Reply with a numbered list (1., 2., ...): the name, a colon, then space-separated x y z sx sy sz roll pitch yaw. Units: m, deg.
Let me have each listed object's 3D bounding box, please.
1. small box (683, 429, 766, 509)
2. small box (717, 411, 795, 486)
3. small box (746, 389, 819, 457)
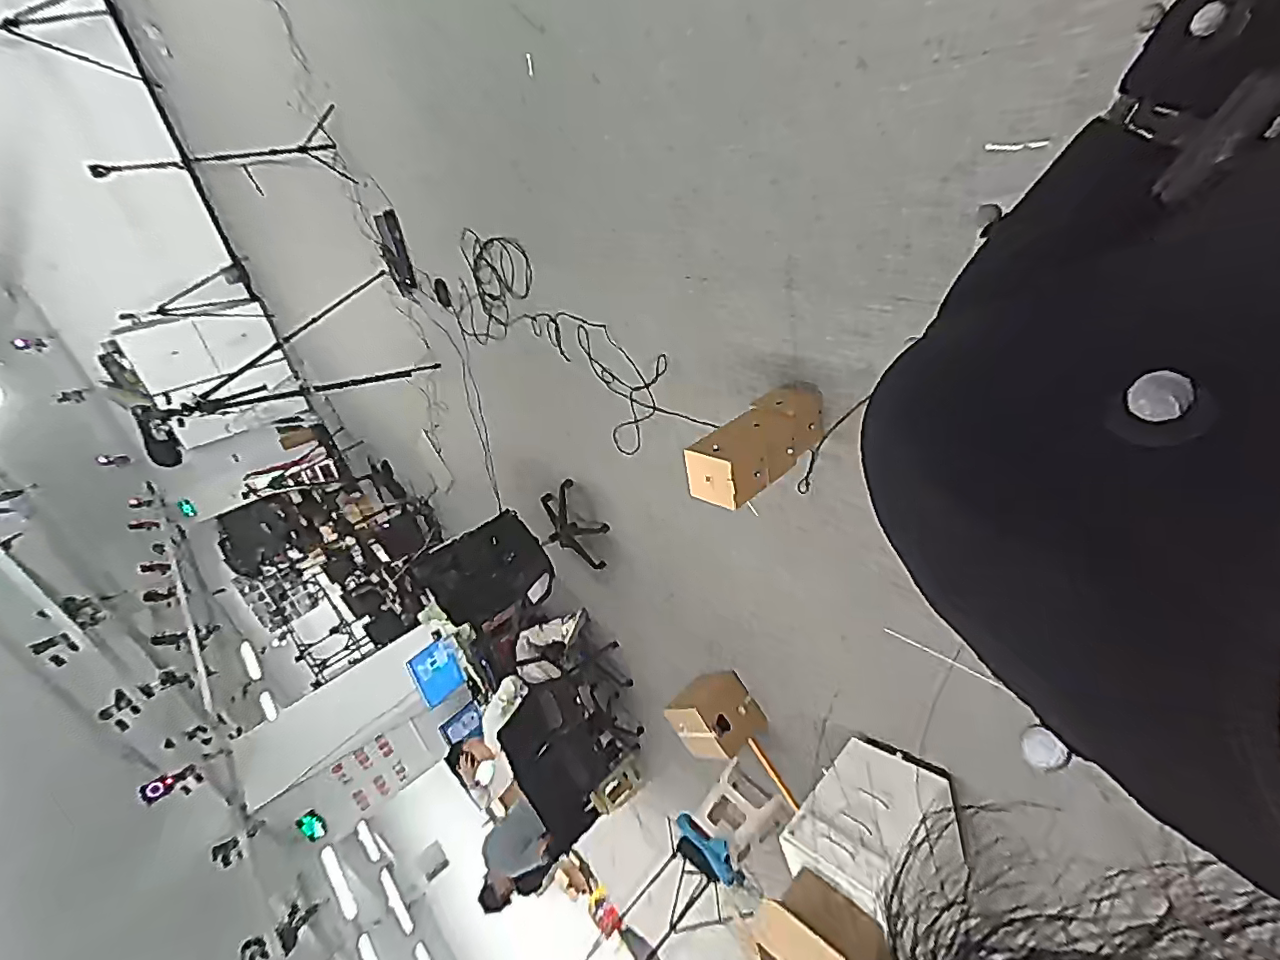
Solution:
1. small box: 0.255 -0.041 1.621 0.179 0.176 0.168 19 131 44
2. small box: 0.369 -0.108 1.715 0.179 0.176 0.168 20 132 43
3. small box: 0.482 -0.197 1.797 0.179 0.176 0.168 18 129 46
